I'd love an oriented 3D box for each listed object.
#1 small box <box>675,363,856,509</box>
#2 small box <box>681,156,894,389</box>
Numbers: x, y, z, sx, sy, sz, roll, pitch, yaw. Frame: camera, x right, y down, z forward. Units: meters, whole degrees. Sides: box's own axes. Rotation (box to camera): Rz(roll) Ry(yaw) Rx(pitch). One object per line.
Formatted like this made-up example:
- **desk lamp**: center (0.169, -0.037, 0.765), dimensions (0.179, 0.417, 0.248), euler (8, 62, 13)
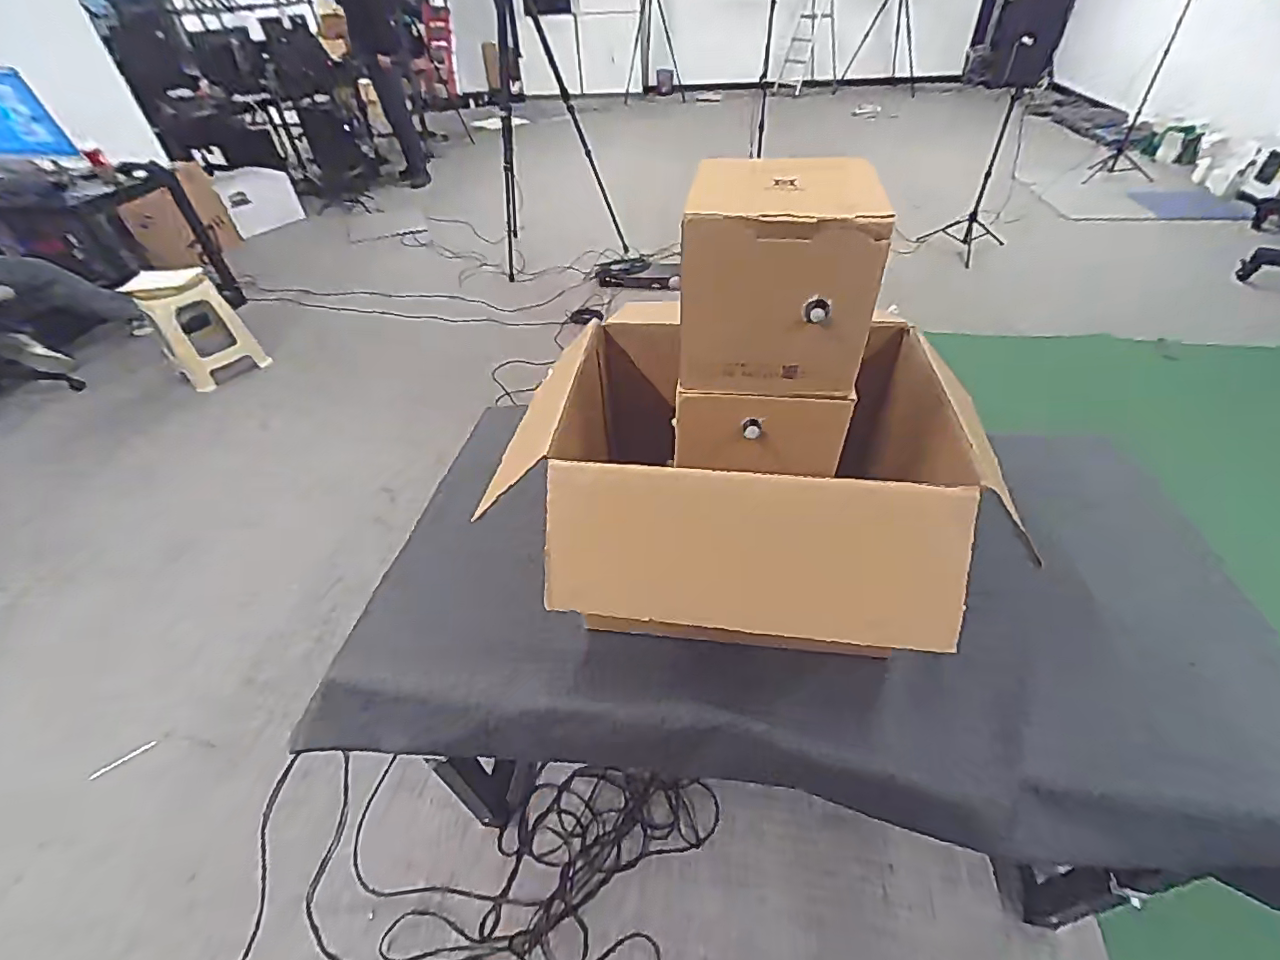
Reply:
- **small box**: center (0.136, -0.082, 0.641), dimensions (0.179, 0.176, 0.168), euler (4, 44, 7)
- **small box**: center (0.131, -0.206, 0.536), dimensions (0.168, 0.176, 0.179), euler (5, 43, 7)
